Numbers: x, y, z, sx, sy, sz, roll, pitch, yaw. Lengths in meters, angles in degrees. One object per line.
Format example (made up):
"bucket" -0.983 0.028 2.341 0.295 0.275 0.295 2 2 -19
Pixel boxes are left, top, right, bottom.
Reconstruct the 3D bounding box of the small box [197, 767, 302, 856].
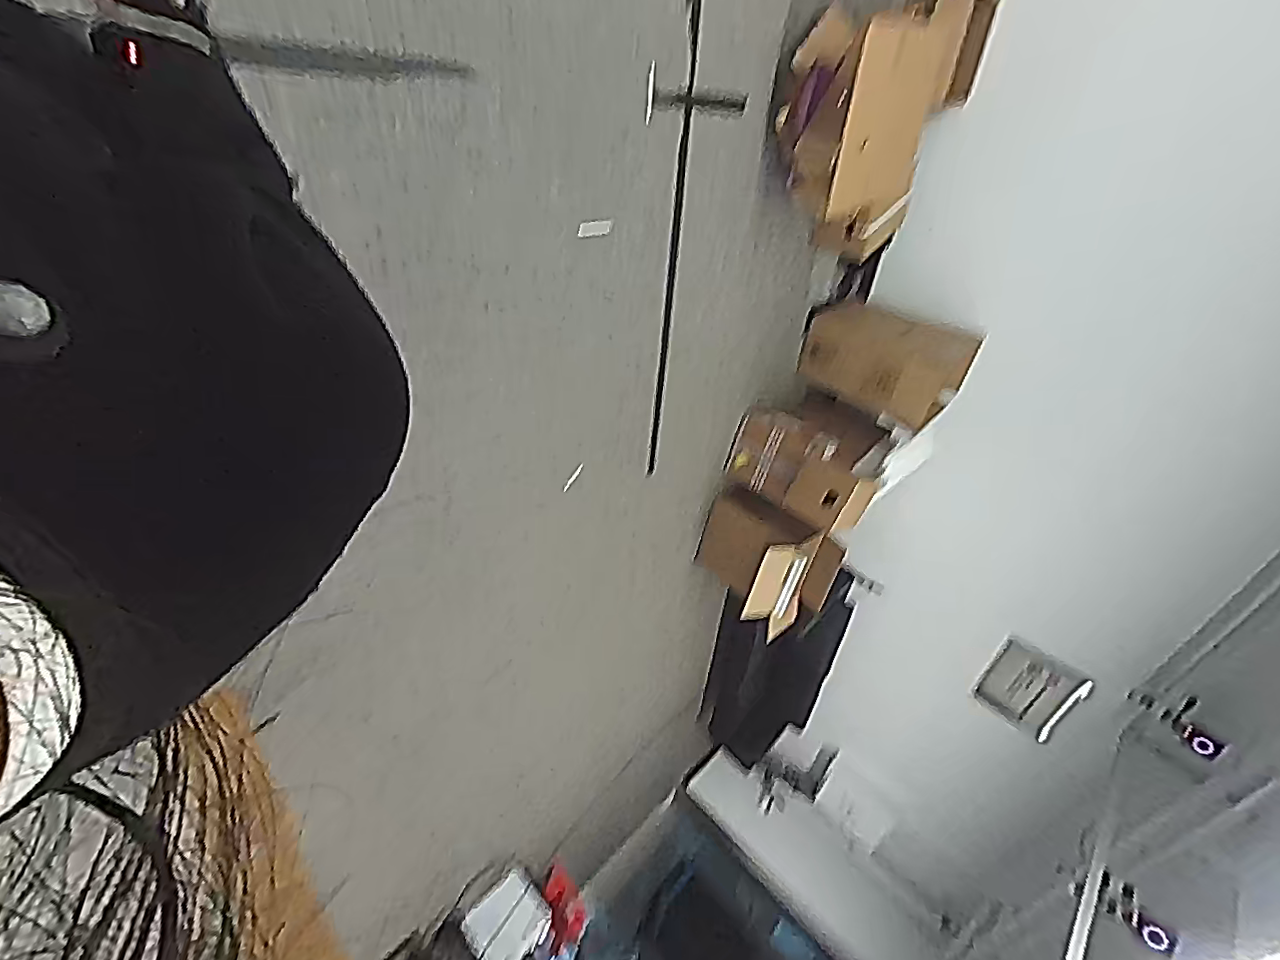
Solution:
"small box" -1.044 0.919 1.450 0.179 0.176 0.168 -22 132 -43

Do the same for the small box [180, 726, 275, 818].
"small box" -1.160 0.840 1.531 0.179 0.176 0.168 -20 131 -45

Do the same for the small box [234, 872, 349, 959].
"small box" -0.817 1.075 1.271 0.168 0.176 0.179 -25 134 -41

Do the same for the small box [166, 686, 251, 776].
"small box" -1.277 0.760 1.613 0.179 0.176 0.168 -23 134 -43

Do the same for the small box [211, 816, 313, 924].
"small box" -0.935 0.994 1.353 0.168 0.176 0.179 -24 133 -43
